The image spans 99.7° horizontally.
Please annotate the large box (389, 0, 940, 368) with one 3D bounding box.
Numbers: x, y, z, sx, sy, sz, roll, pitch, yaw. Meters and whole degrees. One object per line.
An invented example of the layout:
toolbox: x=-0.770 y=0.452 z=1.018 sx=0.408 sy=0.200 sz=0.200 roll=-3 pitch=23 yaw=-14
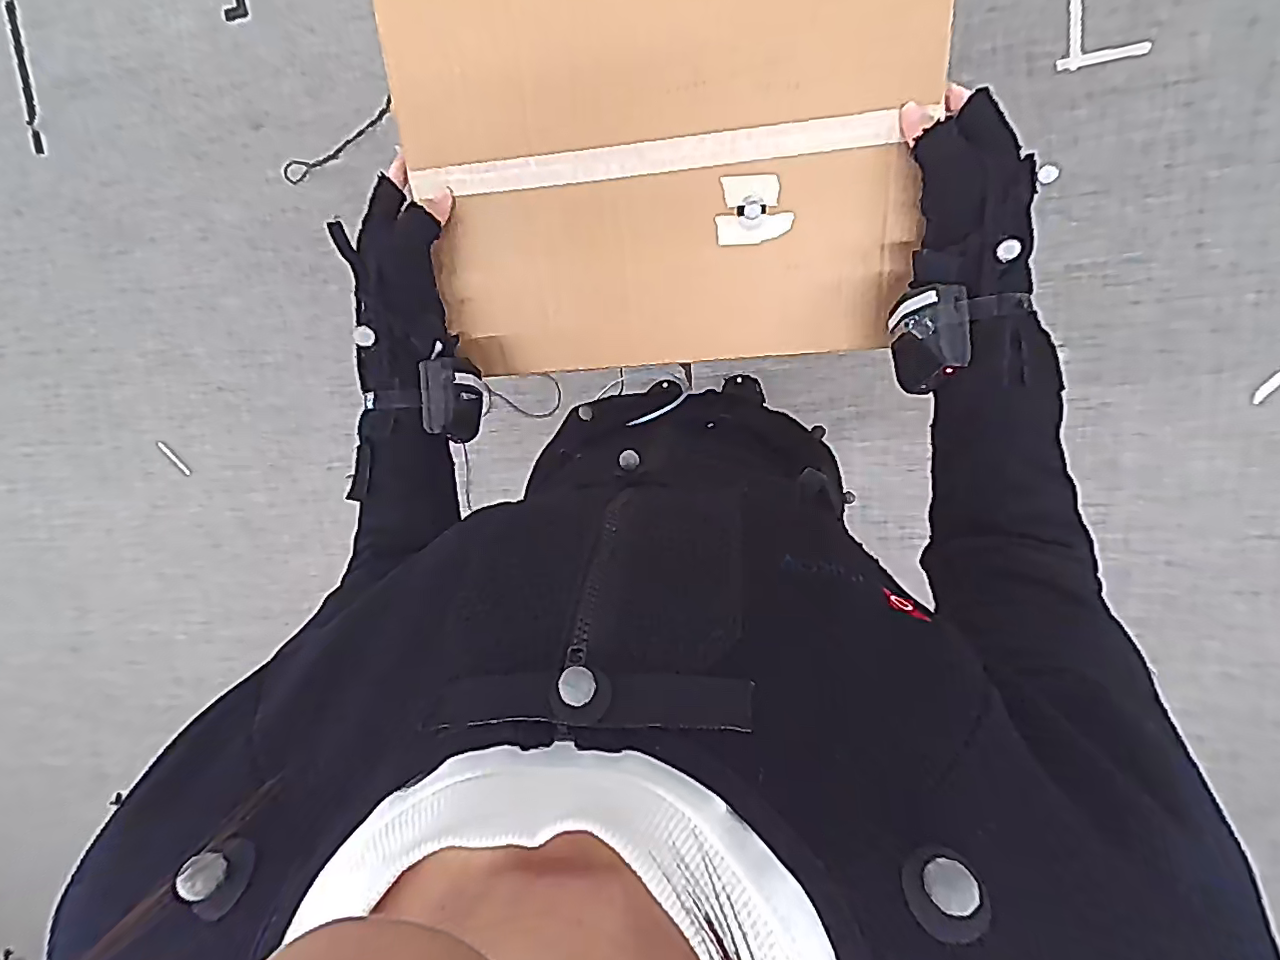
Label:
large box: x=0.030 y=-0.310 z=0.562 sx=0.408 sy=0.320 sz=0.320 roll=-3 pitch=111 yaw=6
